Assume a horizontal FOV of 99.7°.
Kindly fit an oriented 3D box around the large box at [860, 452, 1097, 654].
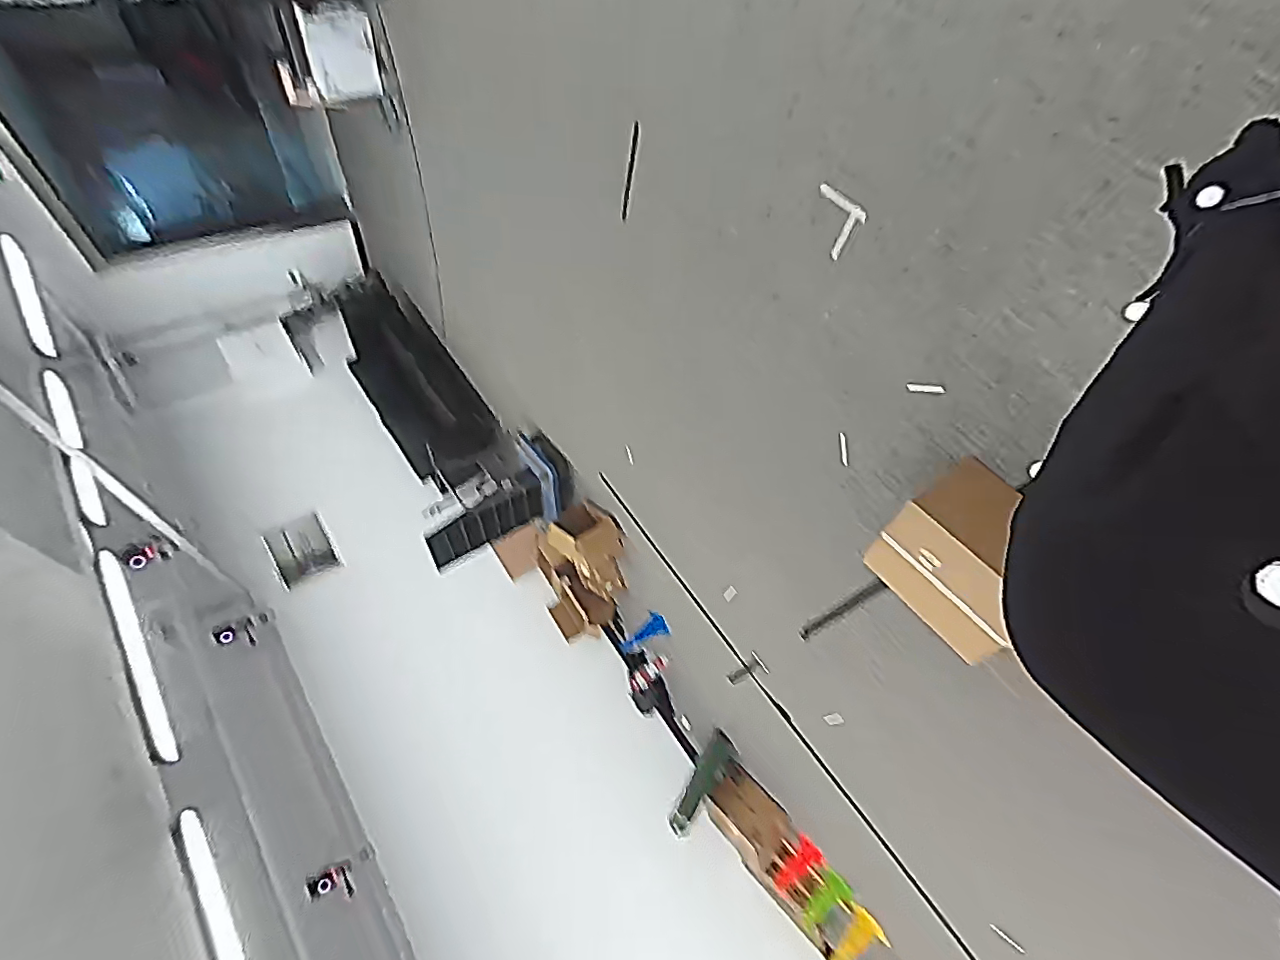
[{"bbox_3d":[0.930,0.200,1.526,0.408,0.320,0.320,50,150,26],"label":"large box"}]
